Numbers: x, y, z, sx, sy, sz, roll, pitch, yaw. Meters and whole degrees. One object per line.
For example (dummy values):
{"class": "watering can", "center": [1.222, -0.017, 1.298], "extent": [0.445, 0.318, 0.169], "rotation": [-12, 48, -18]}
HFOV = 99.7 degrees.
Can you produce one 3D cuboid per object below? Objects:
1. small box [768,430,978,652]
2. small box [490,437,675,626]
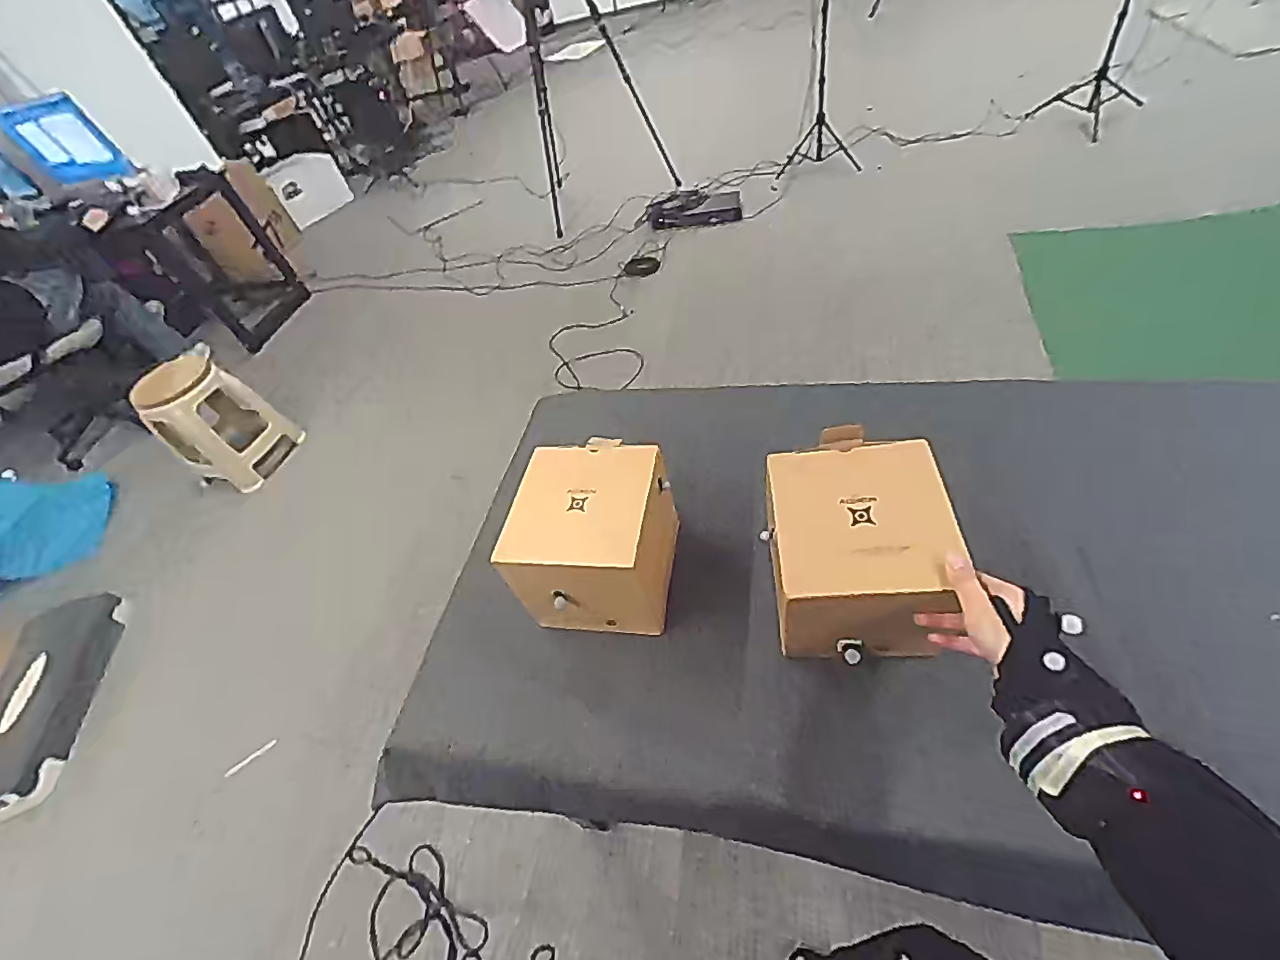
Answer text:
{"class": "small box", "center": [0.231, 0.072, 0.590], "extent": [0.168, 0.176, 0.179], "rotation": [-6, 52, 11]}
{"class": "small box", "center": [-0.056, 0.067, 0.677], "extent": [0.168, 0.176, 0.179], "rotation": [0, 49, 15]}
